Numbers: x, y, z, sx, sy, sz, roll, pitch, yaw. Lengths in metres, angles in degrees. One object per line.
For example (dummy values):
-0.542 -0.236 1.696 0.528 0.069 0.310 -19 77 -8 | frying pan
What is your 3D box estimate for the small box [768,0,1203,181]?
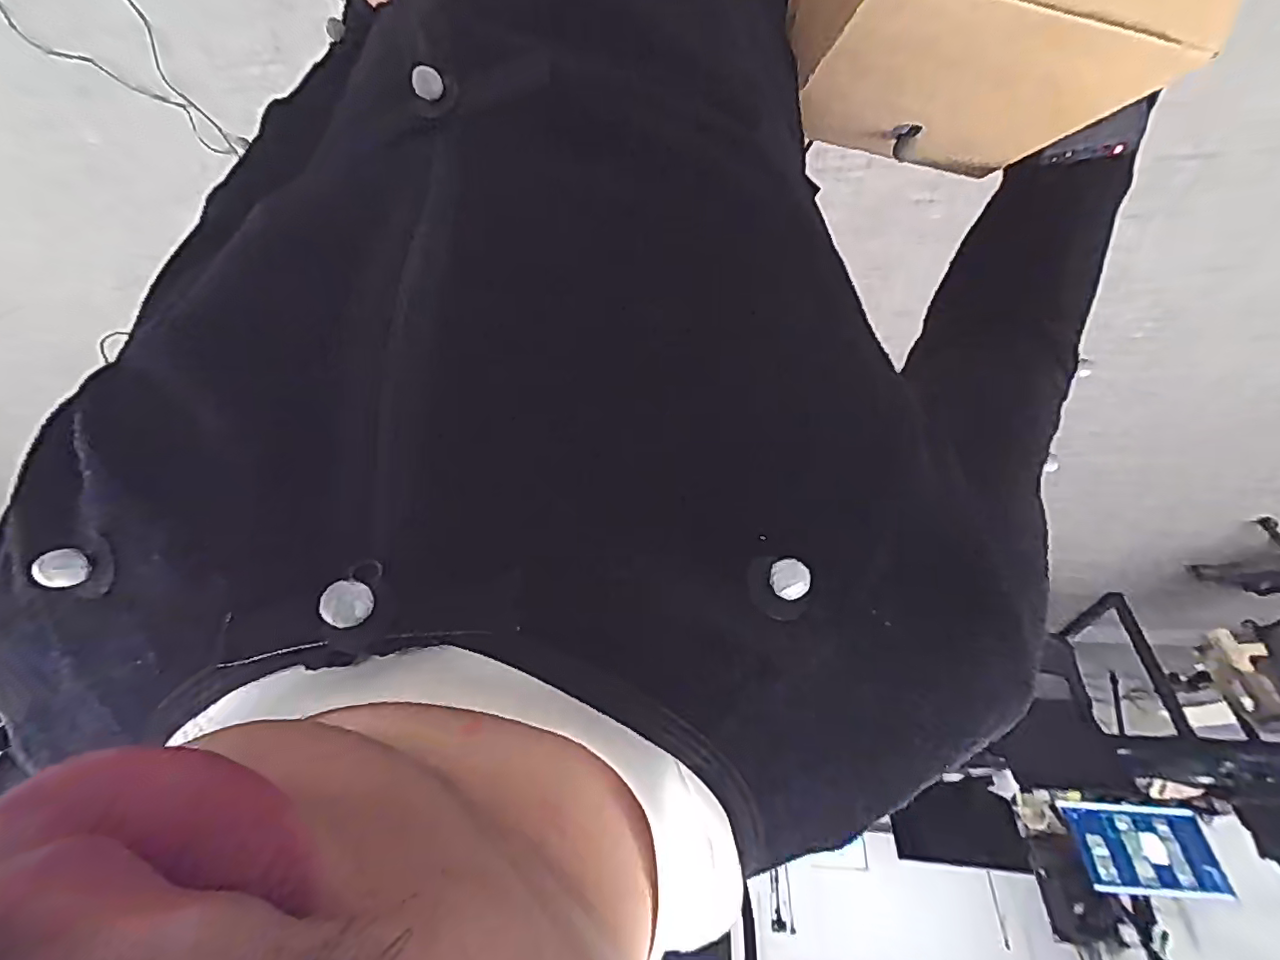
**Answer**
0.202 -0.311 0.337 0.179 0.176 0.168 8 99 -7 | small box
